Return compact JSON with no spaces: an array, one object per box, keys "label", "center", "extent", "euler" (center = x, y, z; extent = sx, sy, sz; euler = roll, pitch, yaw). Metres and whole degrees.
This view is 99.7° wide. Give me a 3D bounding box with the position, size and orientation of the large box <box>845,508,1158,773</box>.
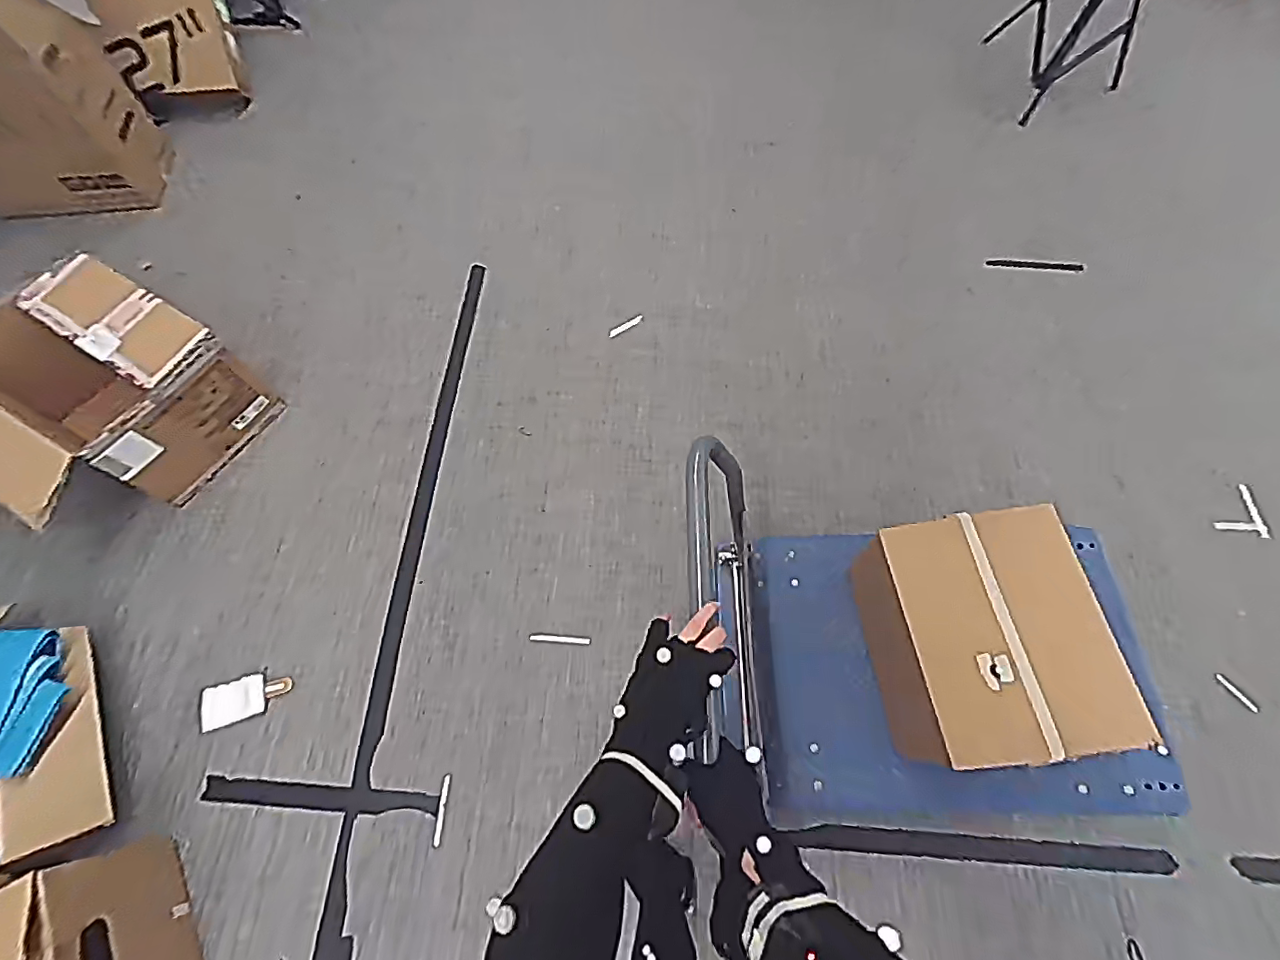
[{"label":"large box","center":[0.636,0.312,1.051],"extent":[0.320,0.320,0.408],"euler":[-10,65,5]}]
